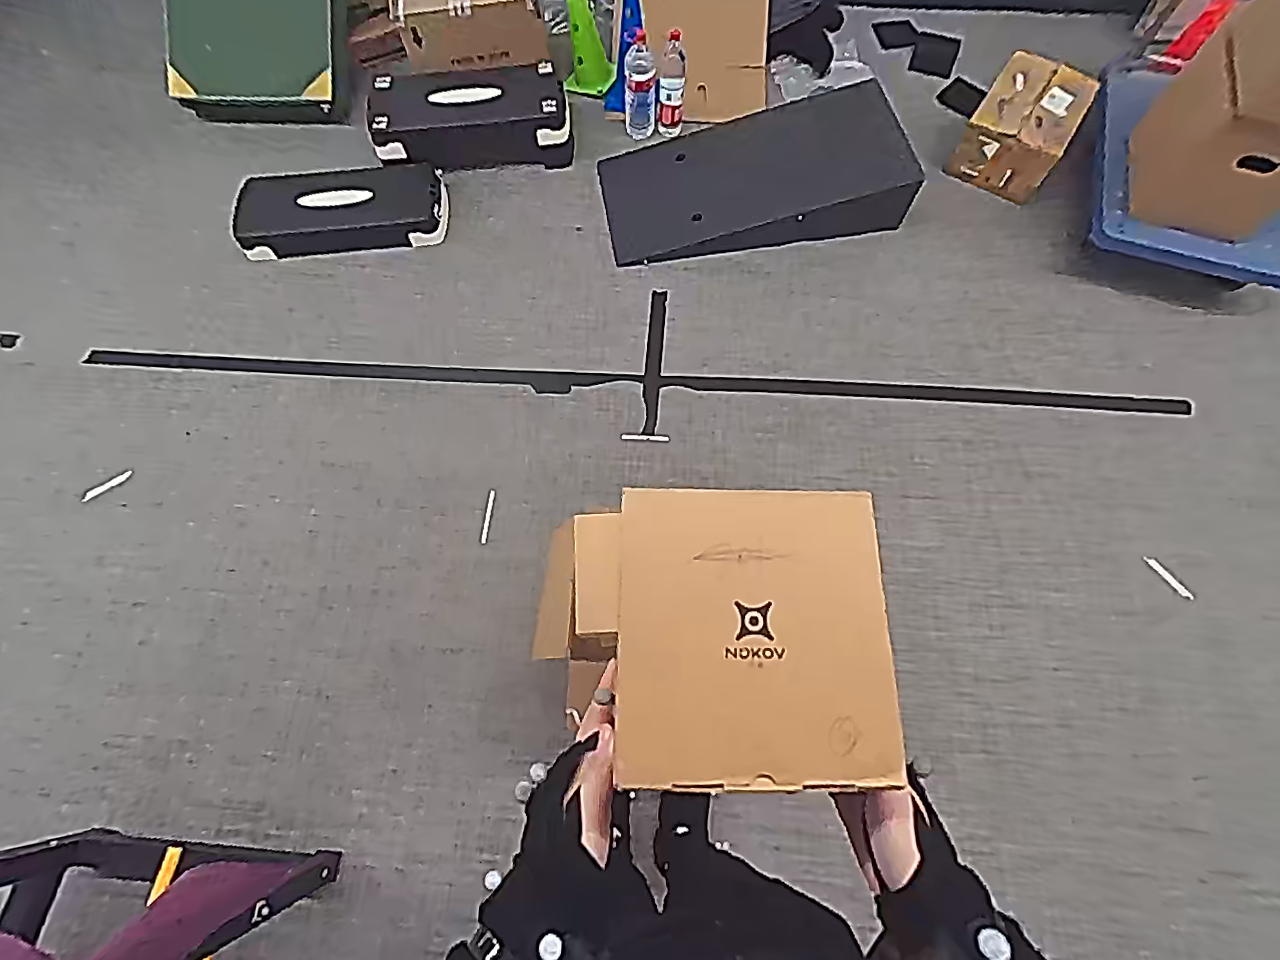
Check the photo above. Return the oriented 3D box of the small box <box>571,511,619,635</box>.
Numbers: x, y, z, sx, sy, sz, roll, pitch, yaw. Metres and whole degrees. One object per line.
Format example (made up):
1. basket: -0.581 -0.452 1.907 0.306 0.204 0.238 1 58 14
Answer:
1. small box: -0.011 0.146 0.824 0.179 0.176 0.168 -2 73 -4

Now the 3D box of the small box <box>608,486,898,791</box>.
1. small box: 0.064 0.113 0.402 0.168 0.176 0.179 2 71 -2
